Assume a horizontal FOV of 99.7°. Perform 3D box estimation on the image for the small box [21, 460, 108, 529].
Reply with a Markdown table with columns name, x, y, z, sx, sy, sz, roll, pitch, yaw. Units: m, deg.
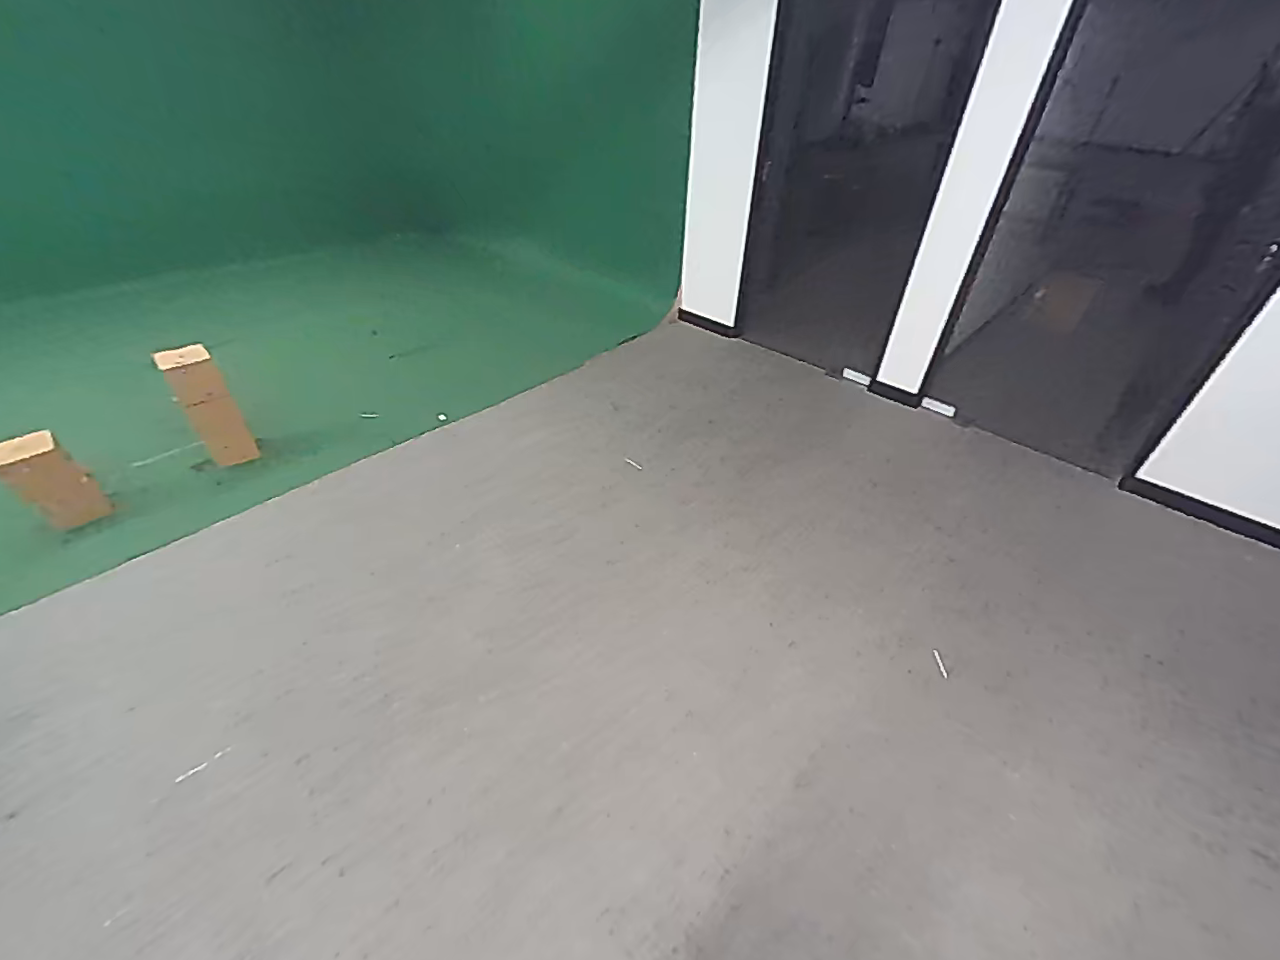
| name | x | y | z | sx | sy | sz | roll | pitch | yaw |
| --- | --- | --- | --- | --- | --- | --- | --- | --- | --- |
| small box | -2.216 | 0.060 | 2.077 | 0.168 | 0.176 | 0.179 | 33 | 48 | 30 |

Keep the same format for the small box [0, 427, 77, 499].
| name | x | y | z | sx | sy | sz | roll | pitch | yaw |
| --- | --- | --- | --- | --- | --- | --- | --- | --- | --- |
| small box | -2.219 | -0.059 | 1.966 | 0.179 | 0.176 | 0.168 | -31 | 51 | -34 |

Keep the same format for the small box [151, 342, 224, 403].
| name | x | y | z | sx | sy | sz | roll | pitch | yaw |
| --- | --- | --- | --- | --- | --- | --- | --- | --- | --- |
| small box | -1.828 | -0.434 | 2.186 | 0.168 | 0.176 | 0.179 | -28 | 48 | -34 |

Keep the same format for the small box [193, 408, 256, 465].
| name | x | y | z | sx | sy | sz | roll | pitch | yaw |
| --- | --- | --- | --- | --- | --- | --- | --- | --- | --- |
| small box | -1.843 | -0.187 | 2.403 | 0.168 | 0.176 | 0.179 | -26 | 47 | -30 |
